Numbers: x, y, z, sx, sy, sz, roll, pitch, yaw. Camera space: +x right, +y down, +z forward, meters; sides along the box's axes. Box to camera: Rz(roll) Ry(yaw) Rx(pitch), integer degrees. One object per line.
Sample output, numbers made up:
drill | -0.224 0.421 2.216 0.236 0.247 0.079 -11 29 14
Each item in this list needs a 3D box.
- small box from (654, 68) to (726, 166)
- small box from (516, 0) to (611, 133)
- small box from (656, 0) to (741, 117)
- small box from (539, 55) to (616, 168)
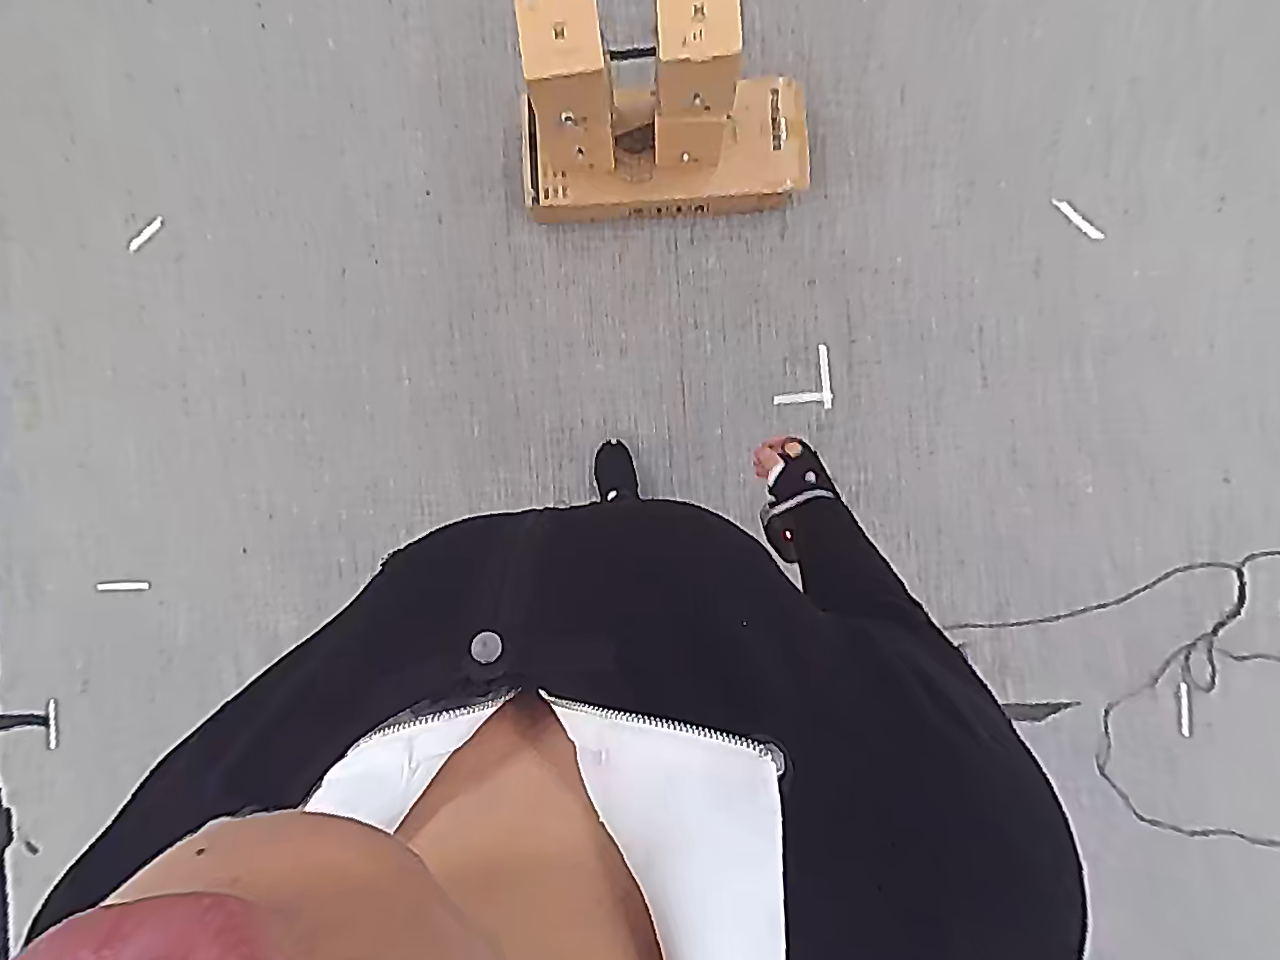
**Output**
small box | 0.120 -0.901 1.317 0.168 0.176 0.179 1 90 3
small box | -0.158 -0.892 1.162 0.168 0.176 0.179 -8 89 2
small box | 0.118 -0.919 1.151 0.168 0.176 0.179 -3 89 3
small box | -0.148 -0.890 1.325 0.168 0.176 0.179 -1 90 2
